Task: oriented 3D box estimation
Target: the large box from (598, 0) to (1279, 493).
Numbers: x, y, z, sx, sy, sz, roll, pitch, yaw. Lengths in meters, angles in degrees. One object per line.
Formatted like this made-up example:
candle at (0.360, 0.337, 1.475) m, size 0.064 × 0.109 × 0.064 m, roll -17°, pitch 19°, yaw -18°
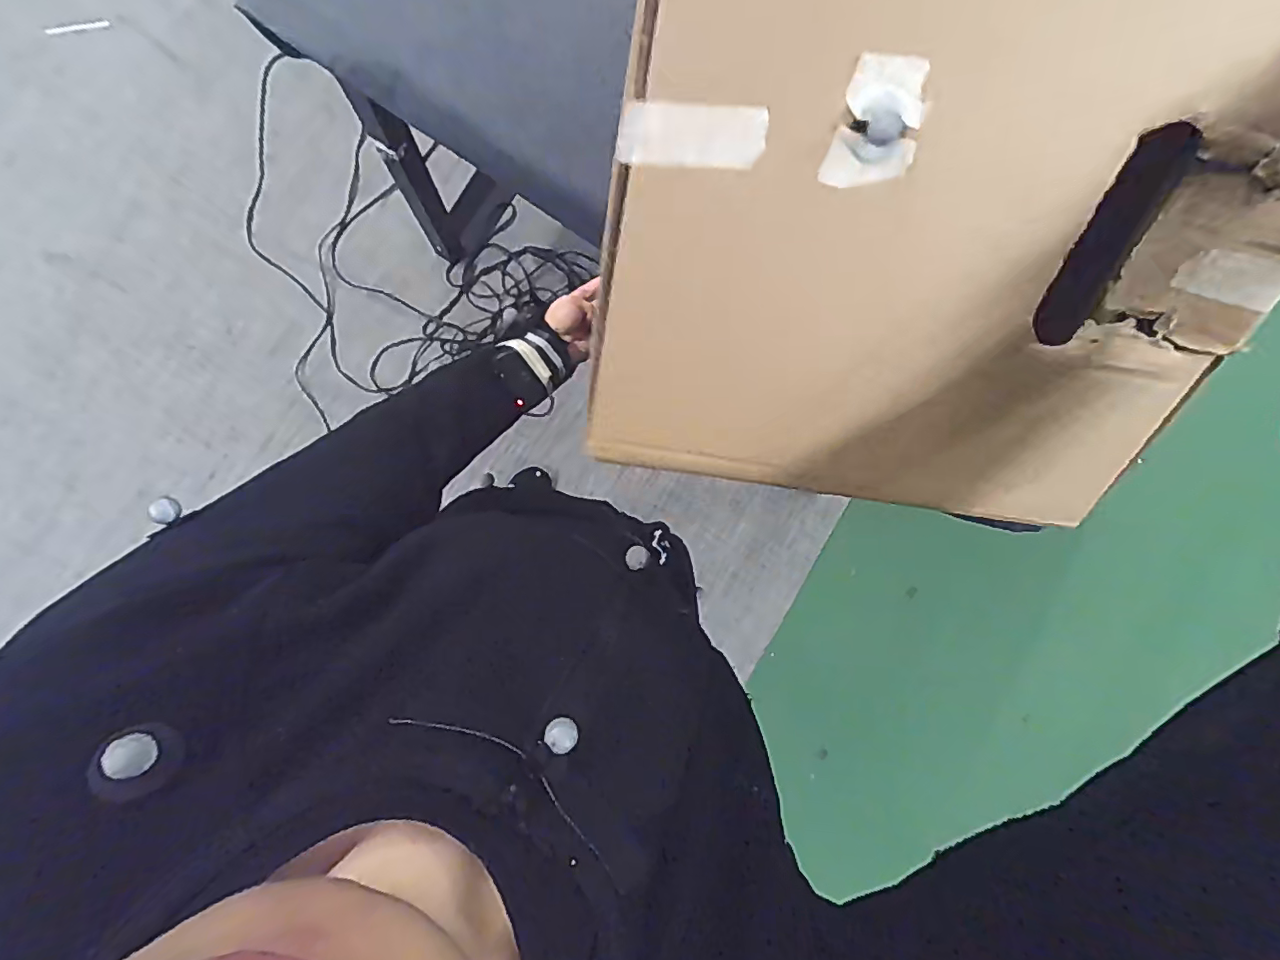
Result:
large box at (0.138, -0.238, 0.399) m, size 0.320 × 0.408 × 0.320 m, roll 6°, pitch 124°, yaw -9°
